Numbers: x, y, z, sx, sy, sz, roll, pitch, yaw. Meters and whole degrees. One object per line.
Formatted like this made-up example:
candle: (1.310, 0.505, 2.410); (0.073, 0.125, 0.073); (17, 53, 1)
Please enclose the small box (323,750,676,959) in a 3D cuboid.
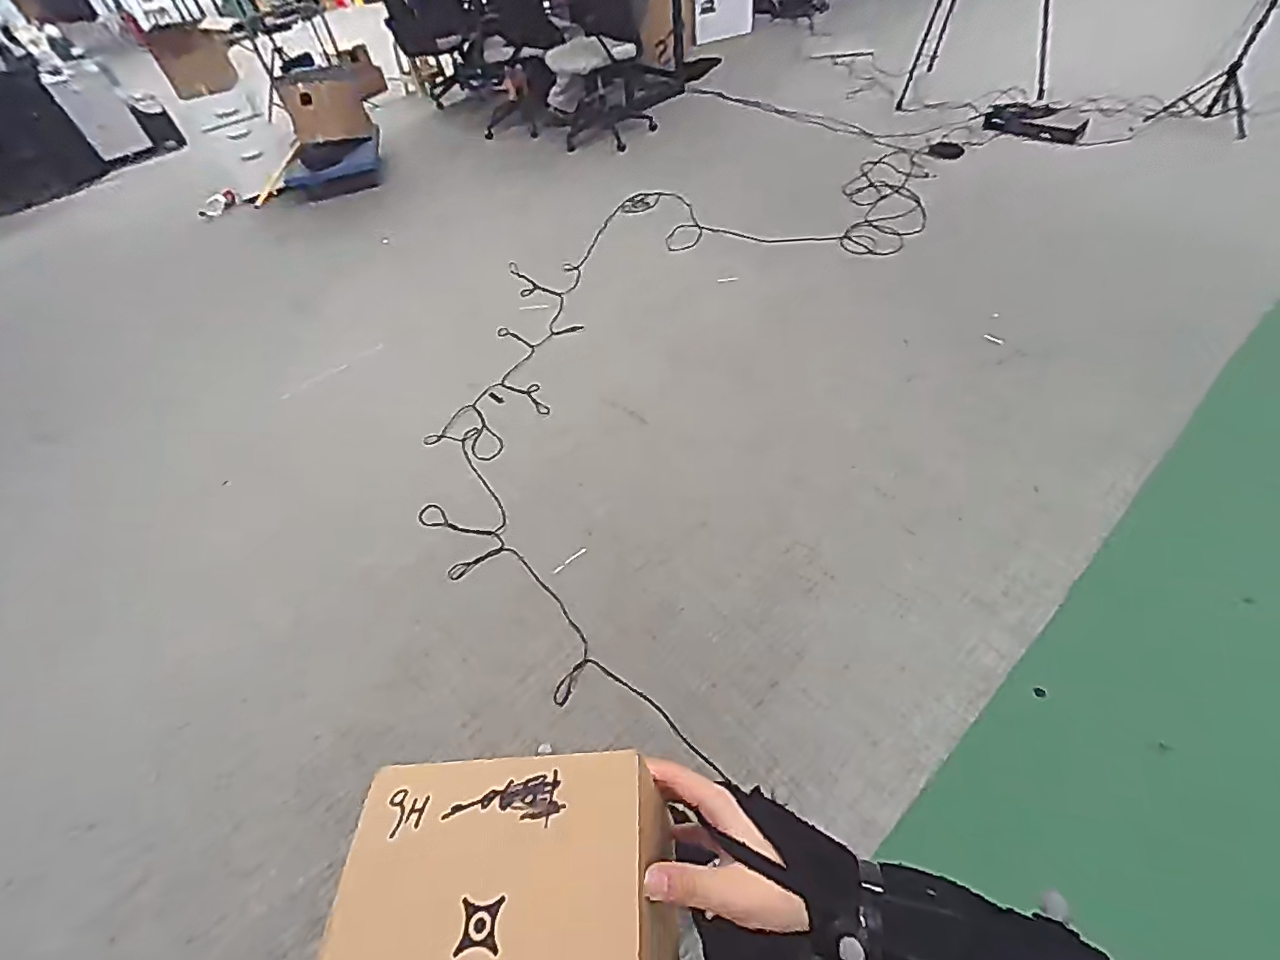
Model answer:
small box: (-0.068, 0.286, 0.329); (0.168, 0.176, 0.179); (-7, 47, 6)
